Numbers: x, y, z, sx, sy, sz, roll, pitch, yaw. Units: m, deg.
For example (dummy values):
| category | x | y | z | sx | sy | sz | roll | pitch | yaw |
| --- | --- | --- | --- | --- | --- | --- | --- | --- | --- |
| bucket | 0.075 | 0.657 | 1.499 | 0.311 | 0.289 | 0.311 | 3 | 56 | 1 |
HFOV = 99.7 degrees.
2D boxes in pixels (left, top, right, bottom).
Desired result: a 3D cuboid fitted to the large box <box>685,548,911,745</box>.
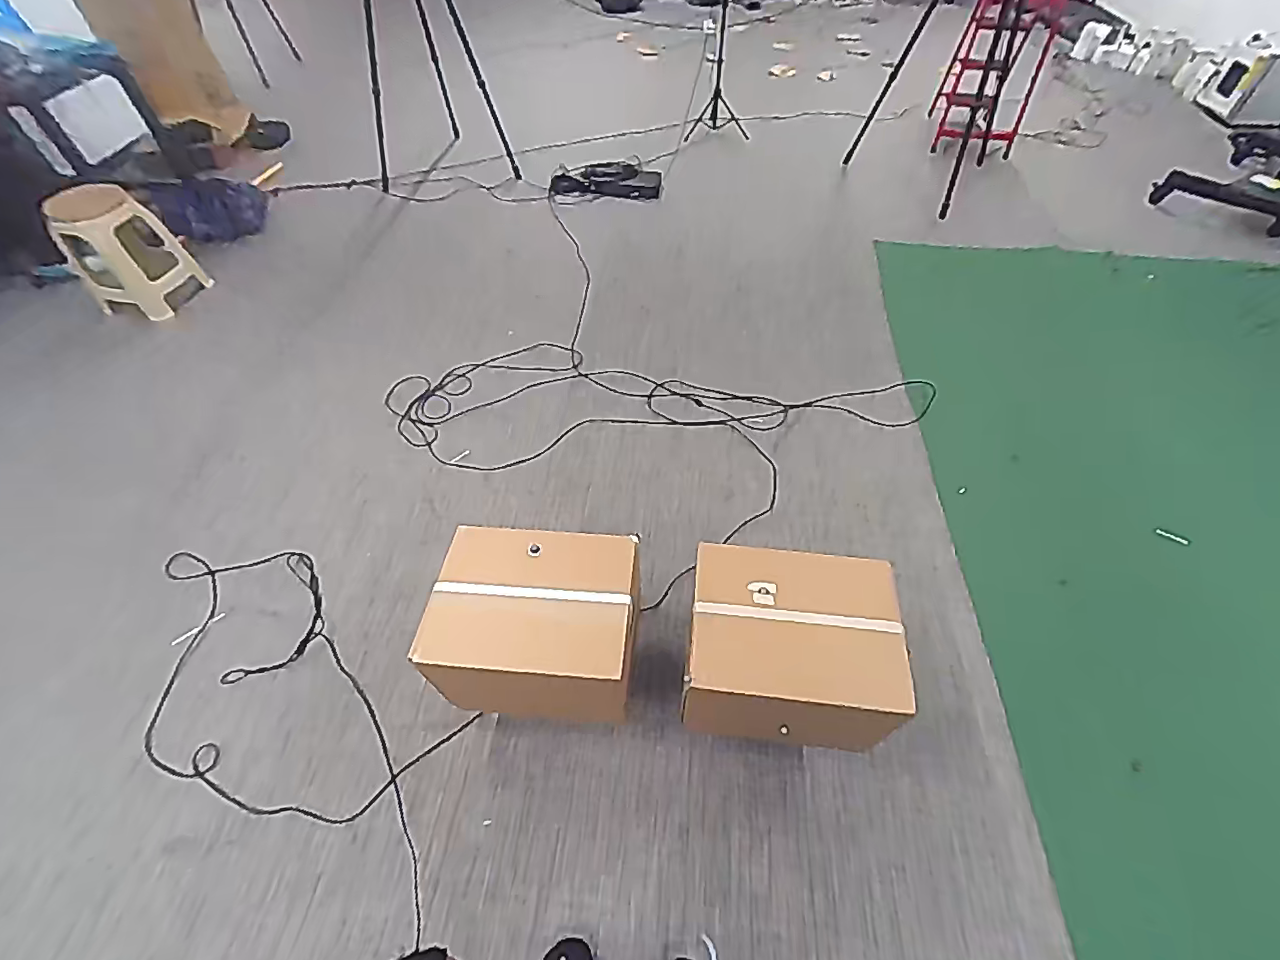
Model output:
| category | x | y | z | sx | sy | sz | roll | pitch | yaw |
| --- | --- | --- | --- | --- | --- | --- | --- | --- | --- |
| large box | 0.314 | 0.372 | 1.194 | 0.408 | 0.320 | 0.320 | 5 | 52 | 6 |
